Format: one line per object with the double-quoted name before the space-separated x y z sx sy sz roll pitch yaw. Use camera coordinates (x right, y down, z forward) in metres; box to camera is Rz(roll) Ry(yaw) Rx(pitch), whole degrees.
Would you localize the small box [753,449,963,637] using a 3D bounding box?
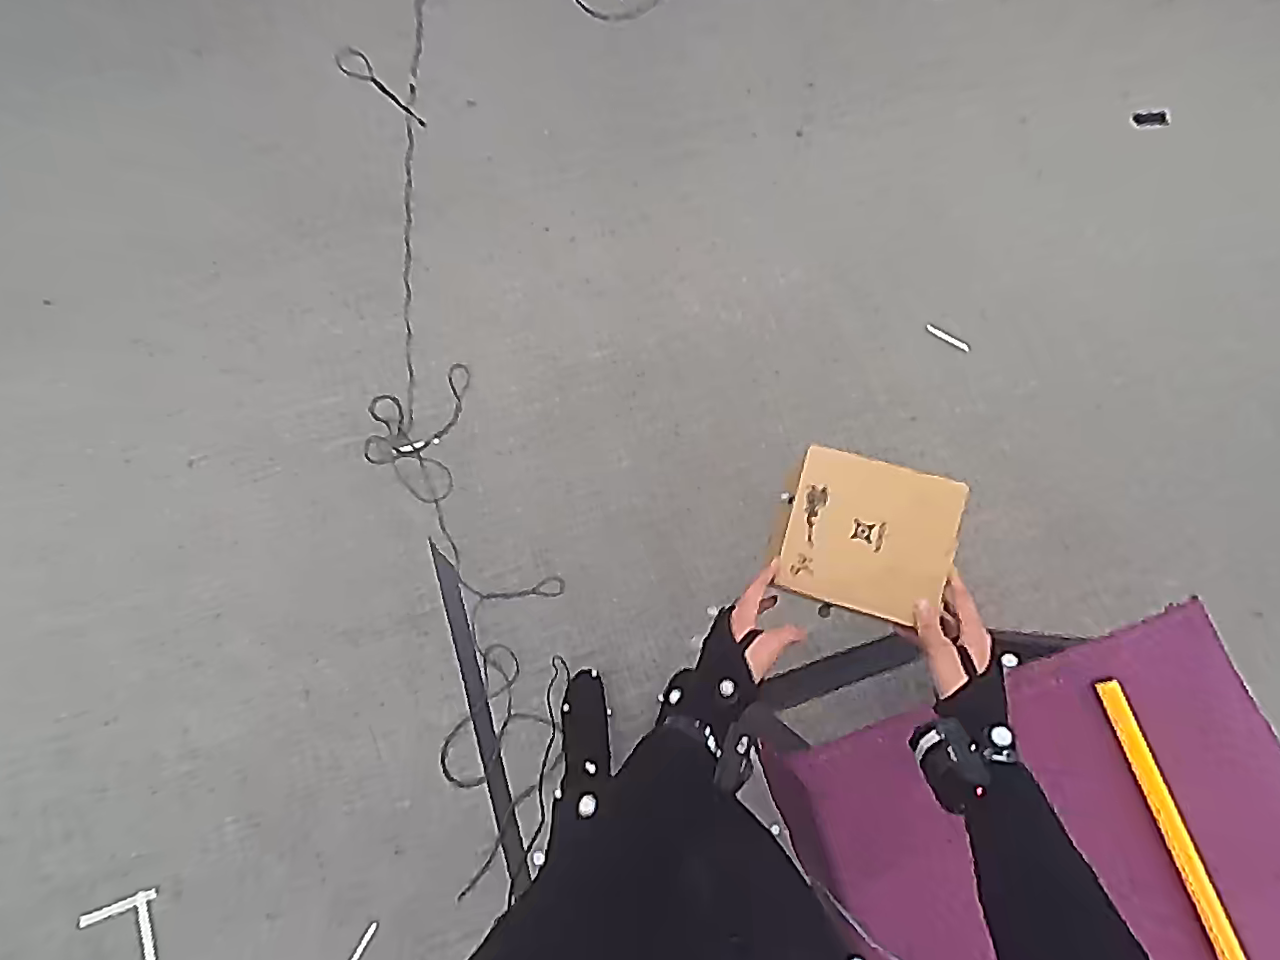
"small box" 0.249 0.077 0.657 0.179 0.176 0.168 15 82 8
